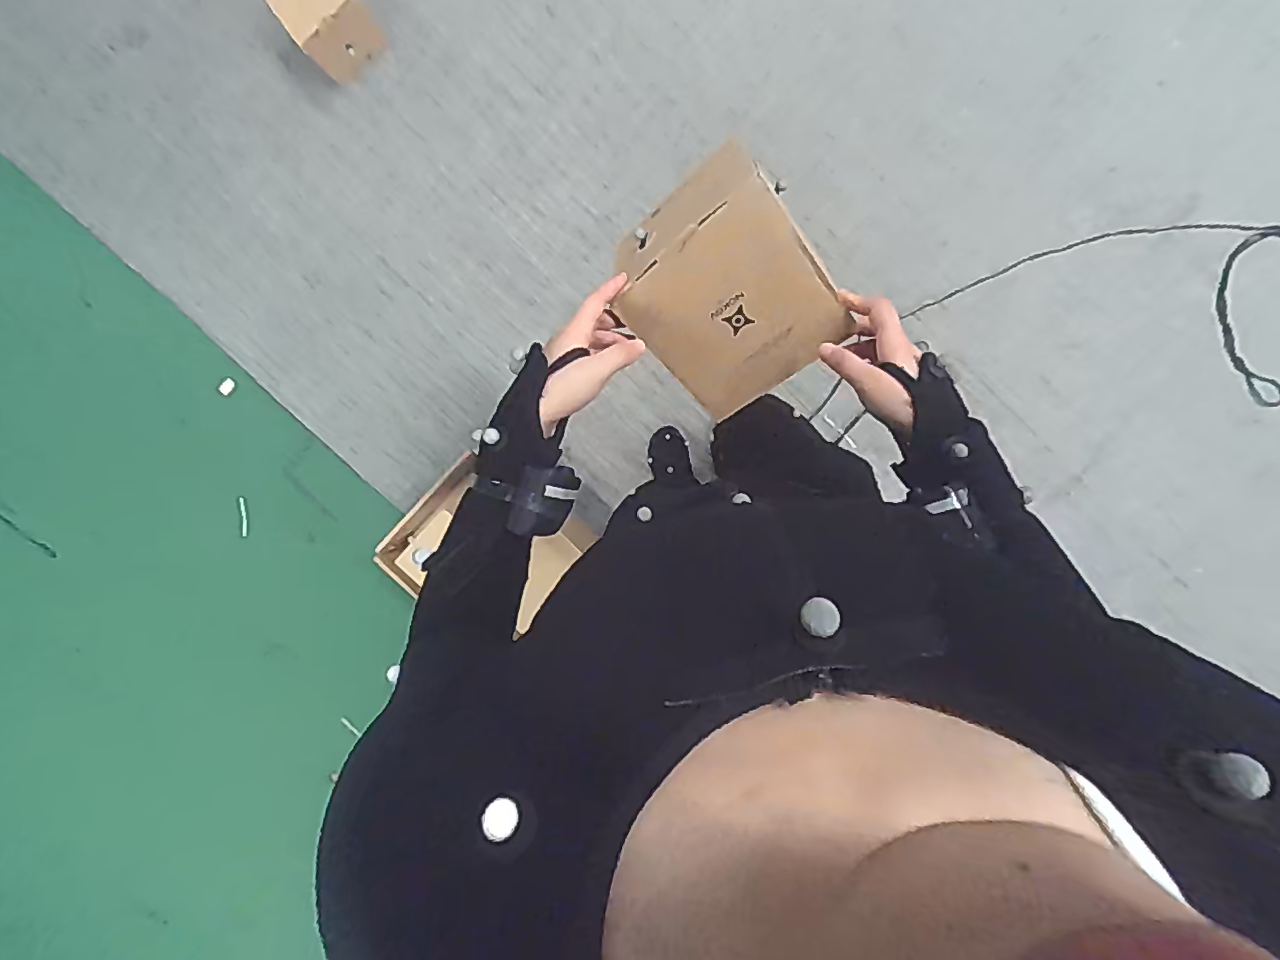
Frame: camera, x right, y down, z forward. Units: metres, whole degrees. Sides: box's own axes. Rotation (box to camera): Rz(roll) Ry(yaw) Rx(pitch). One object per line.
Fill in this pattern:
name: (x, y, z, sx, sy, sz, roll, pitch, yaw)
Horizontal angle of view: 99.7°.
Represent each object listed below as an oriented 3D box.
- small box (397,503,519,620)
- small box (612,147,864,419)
small box: (-0.404, 0.177, 1.233, 0.168, 0.176, 0.179, 44, 98, -4)
small box: (0.091, -0.204, 0.550, 0.168, 0.176, 0.179, -33, 123, 27)
